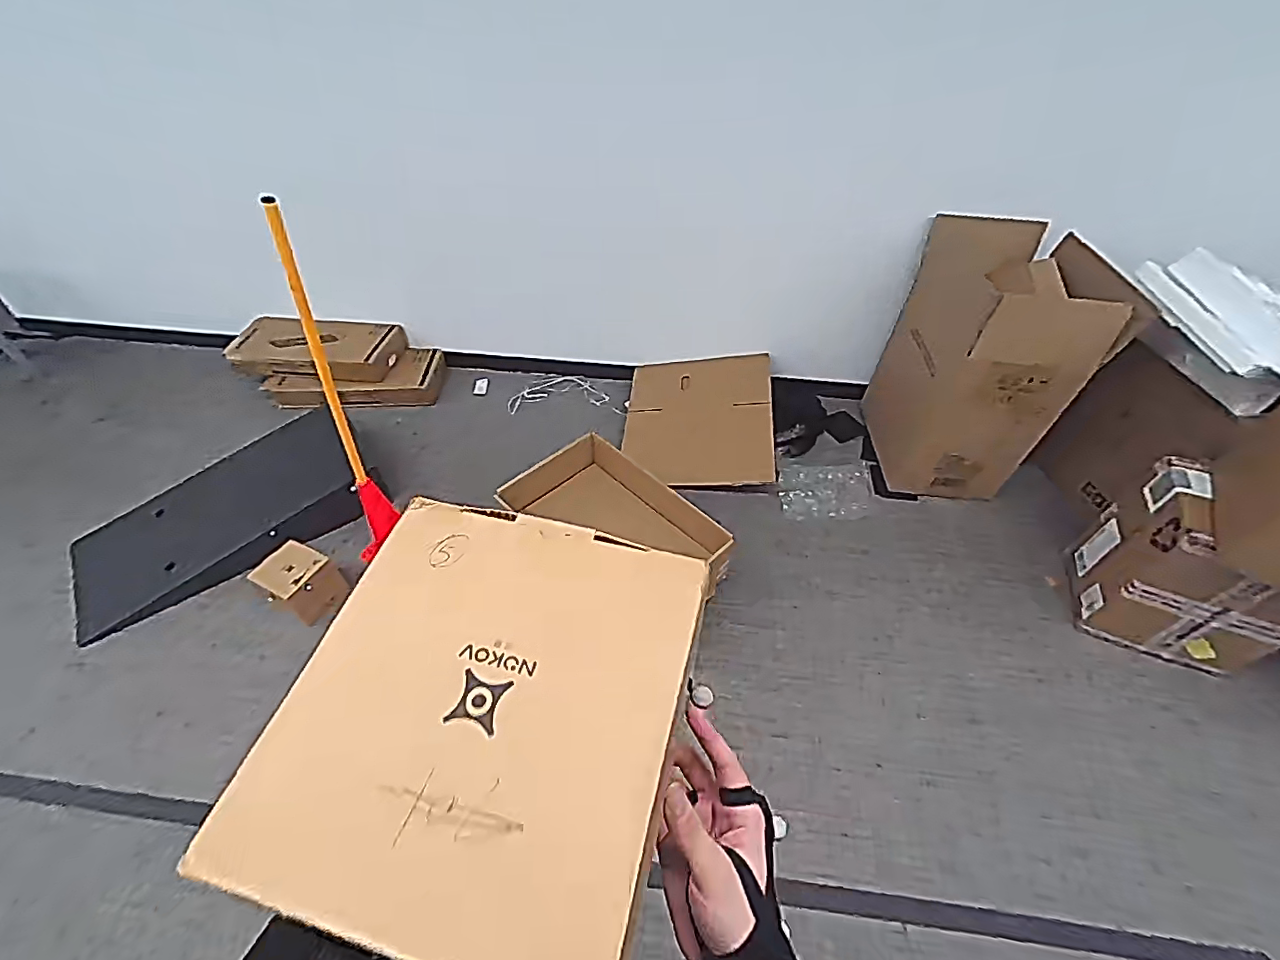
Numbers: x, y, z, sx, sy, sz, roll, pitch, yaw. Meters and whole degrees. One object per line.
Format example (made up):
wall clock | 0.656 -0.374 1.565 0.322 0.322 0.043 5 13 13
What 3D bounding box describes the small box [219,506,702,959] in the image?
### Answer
small box | -0.067 0.146 0.311 0.168 0.176 0.179 11 53 11
